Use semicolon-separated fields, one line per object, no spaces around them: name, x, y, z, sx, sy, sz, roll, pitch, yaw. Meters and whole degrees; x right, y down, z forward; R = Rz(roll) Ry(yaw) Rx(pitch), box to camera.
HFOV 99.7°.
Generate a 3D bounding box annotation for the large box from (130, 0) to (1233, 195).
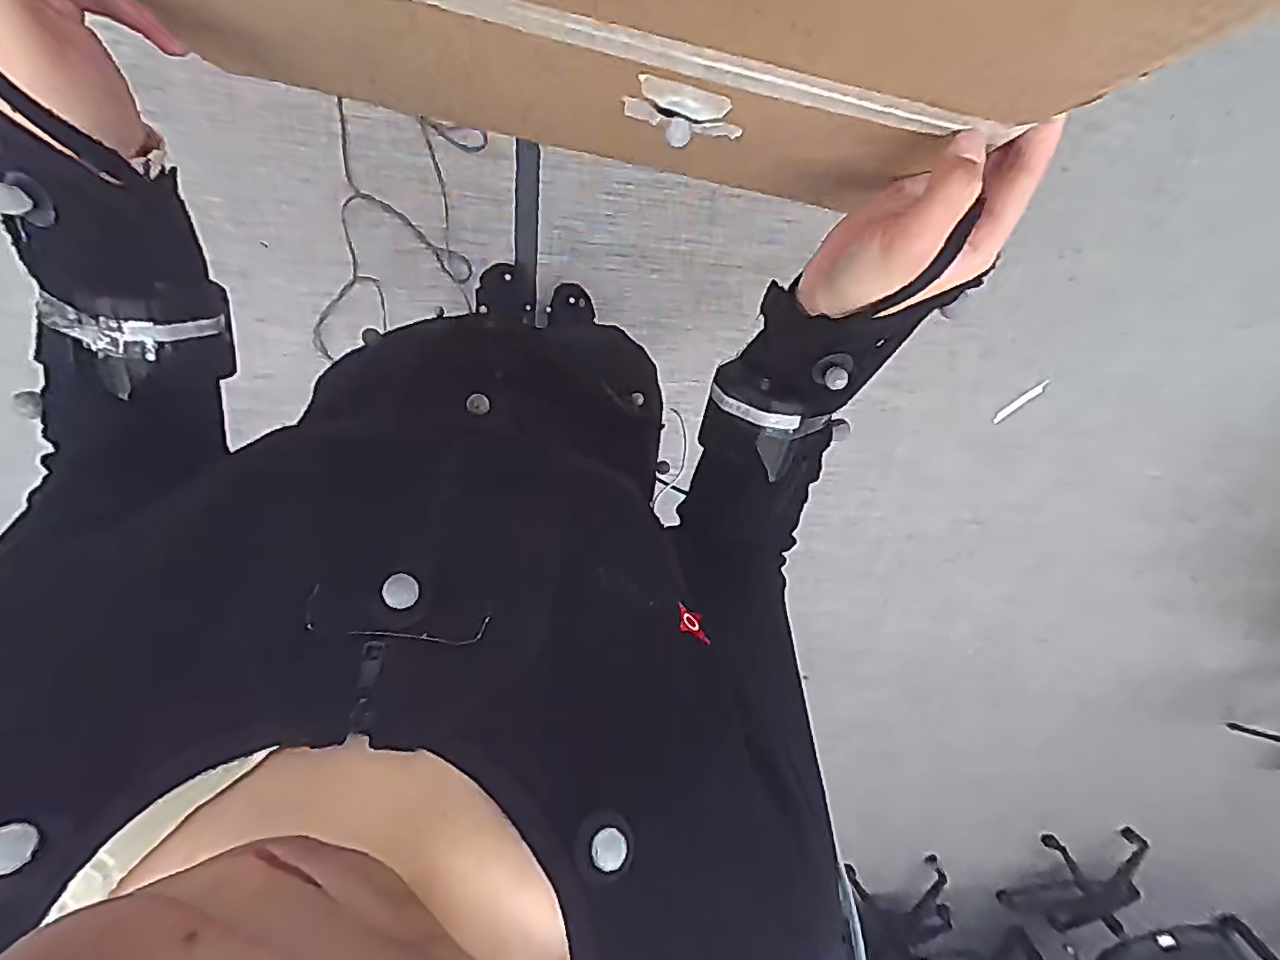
large box;-0.017;-0.325;0.163;0.408;0.320;0.320;8;106;-6
